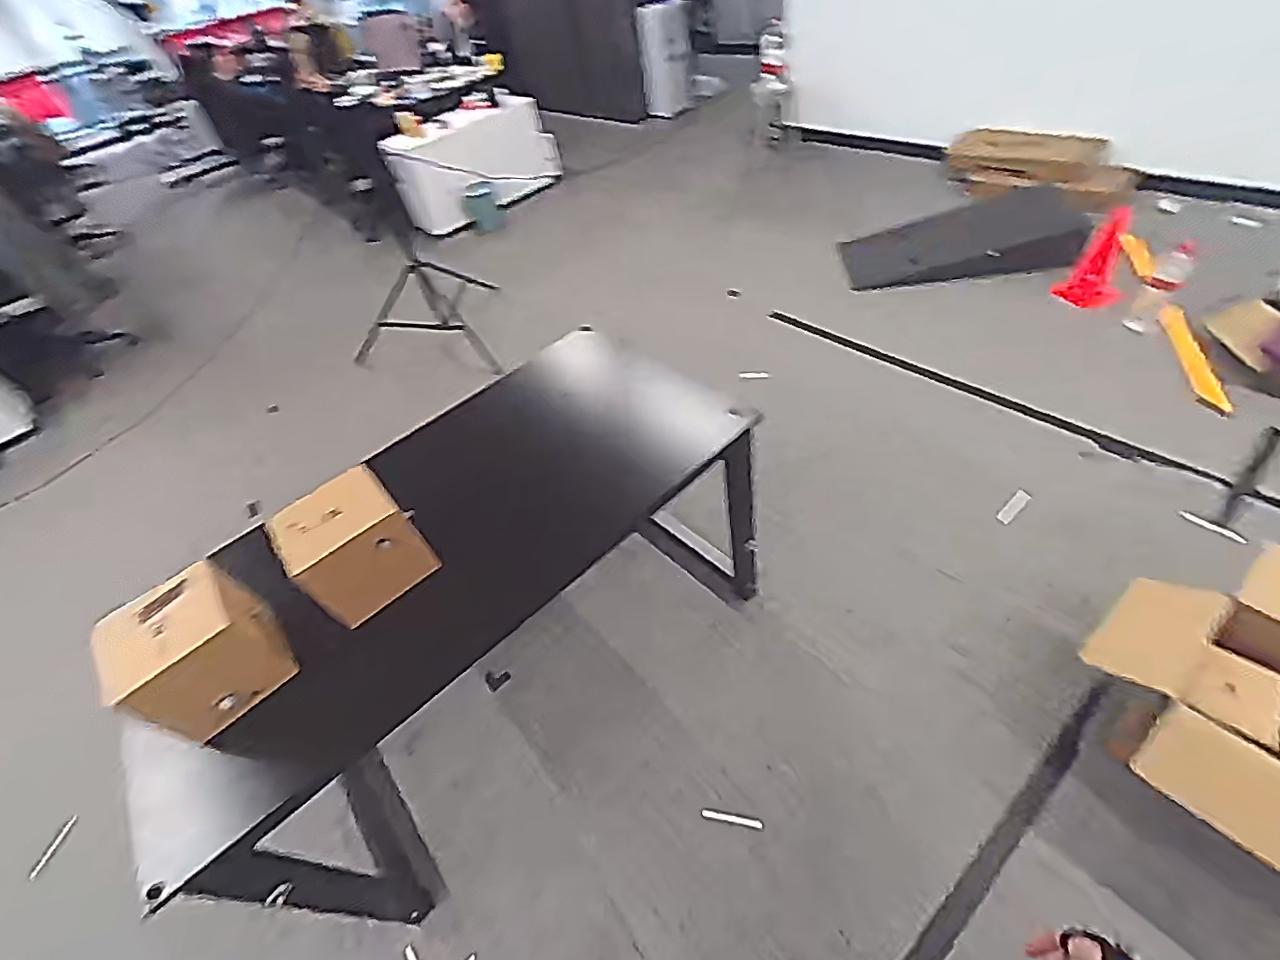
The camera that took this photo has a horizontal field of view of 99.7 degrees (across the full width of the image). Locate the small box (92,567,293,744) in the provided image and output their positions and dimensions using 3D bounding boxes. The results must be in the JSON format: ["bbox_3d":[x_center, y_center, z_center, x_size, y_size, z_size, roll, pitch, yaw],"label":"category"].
[{"bbox_3d":[-0.696,0.278,0.853,0.168,0.176,0.179,-40,53,-22],"label":"small box"}]

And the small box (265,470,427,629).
[{"bbox_3d":[-0.502,0.122,0.950,0.179,0.176,0.168,-38,51,-21],"label":"small box"}]
